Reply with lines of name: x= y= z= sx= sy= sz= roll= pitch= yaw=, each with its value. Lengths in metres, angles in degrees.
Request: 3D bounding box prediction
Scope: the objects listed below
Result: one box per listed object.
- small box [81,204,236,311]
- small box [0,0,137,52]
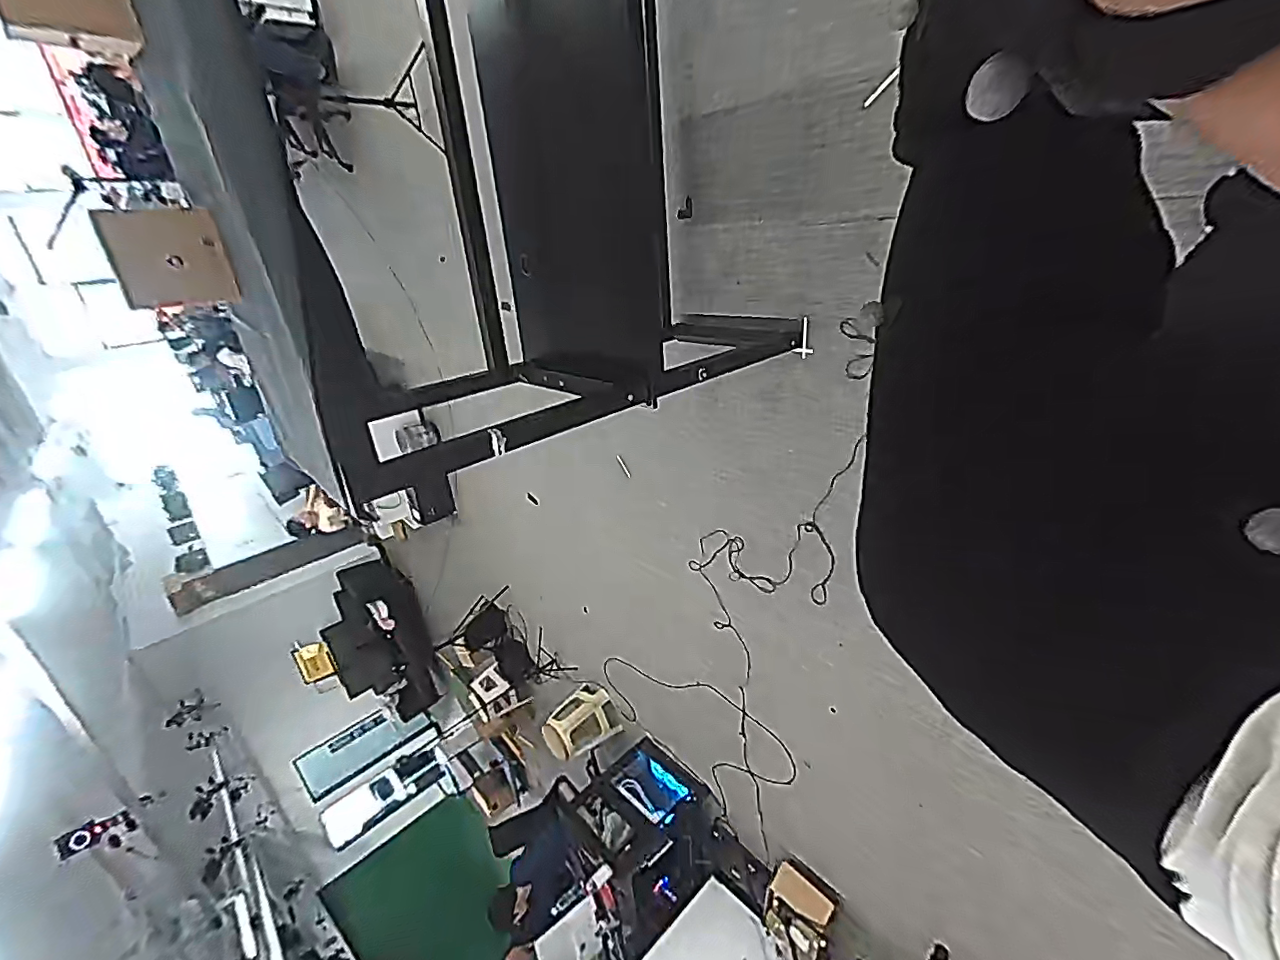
small box: x=-0.891 y=-0.416 z=1.011 sx=0.179 sy=0.176 sz=0.168 roll=20 pitch=124 yaw=43
small box: x=-0.928 y=-0.792 z=0.843 sx=0.179 sy=0.176 sz=0.168 roll=27 pitch=129 yaw=40
